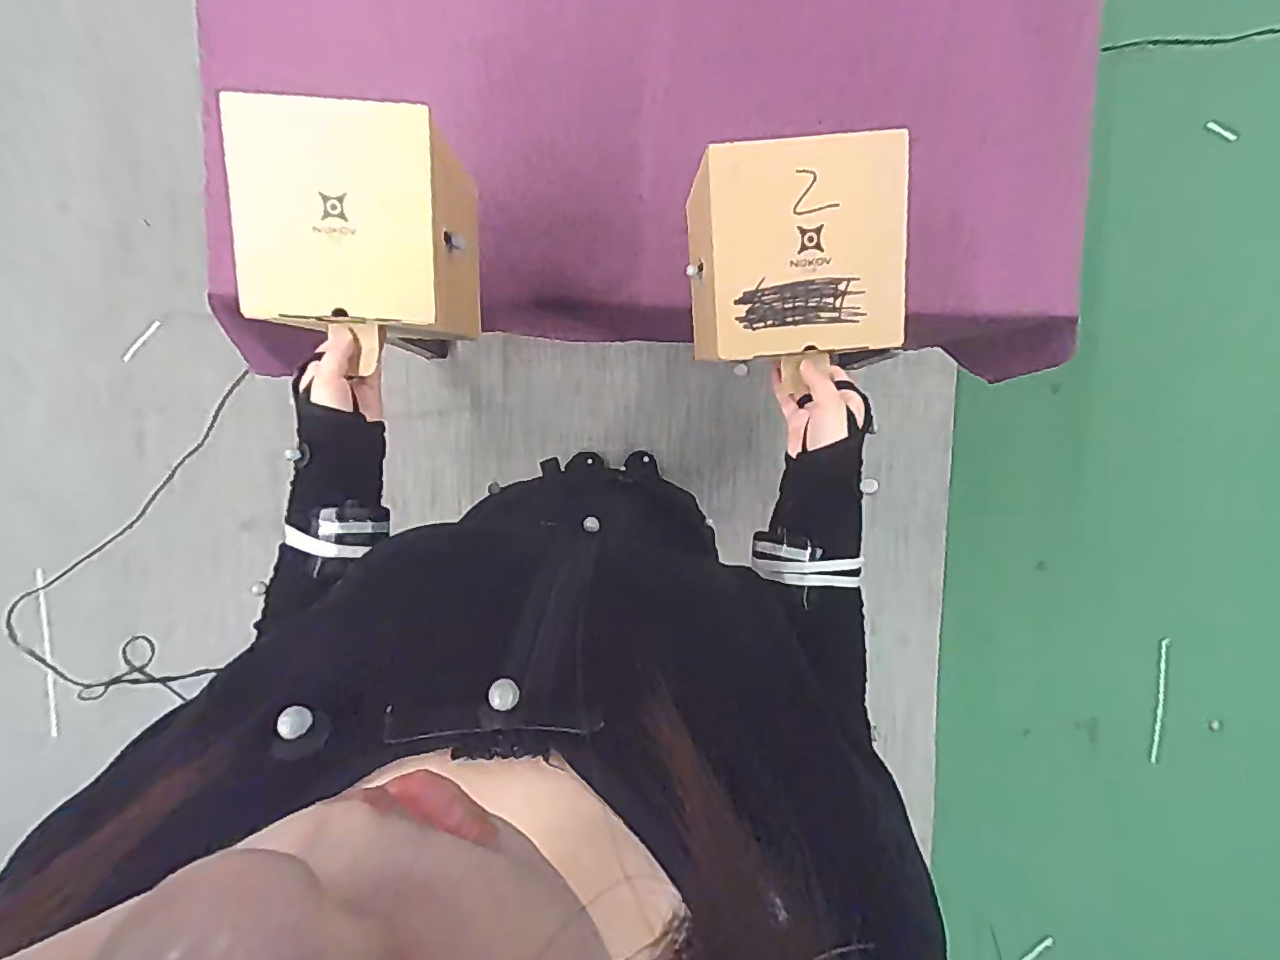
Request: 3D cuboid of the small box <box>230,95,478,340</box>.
[{"bbox_3d":[-0.263,-0.239,0.539,0.168,0.176,0.179,2,101,-4],"label":"small box"}]
